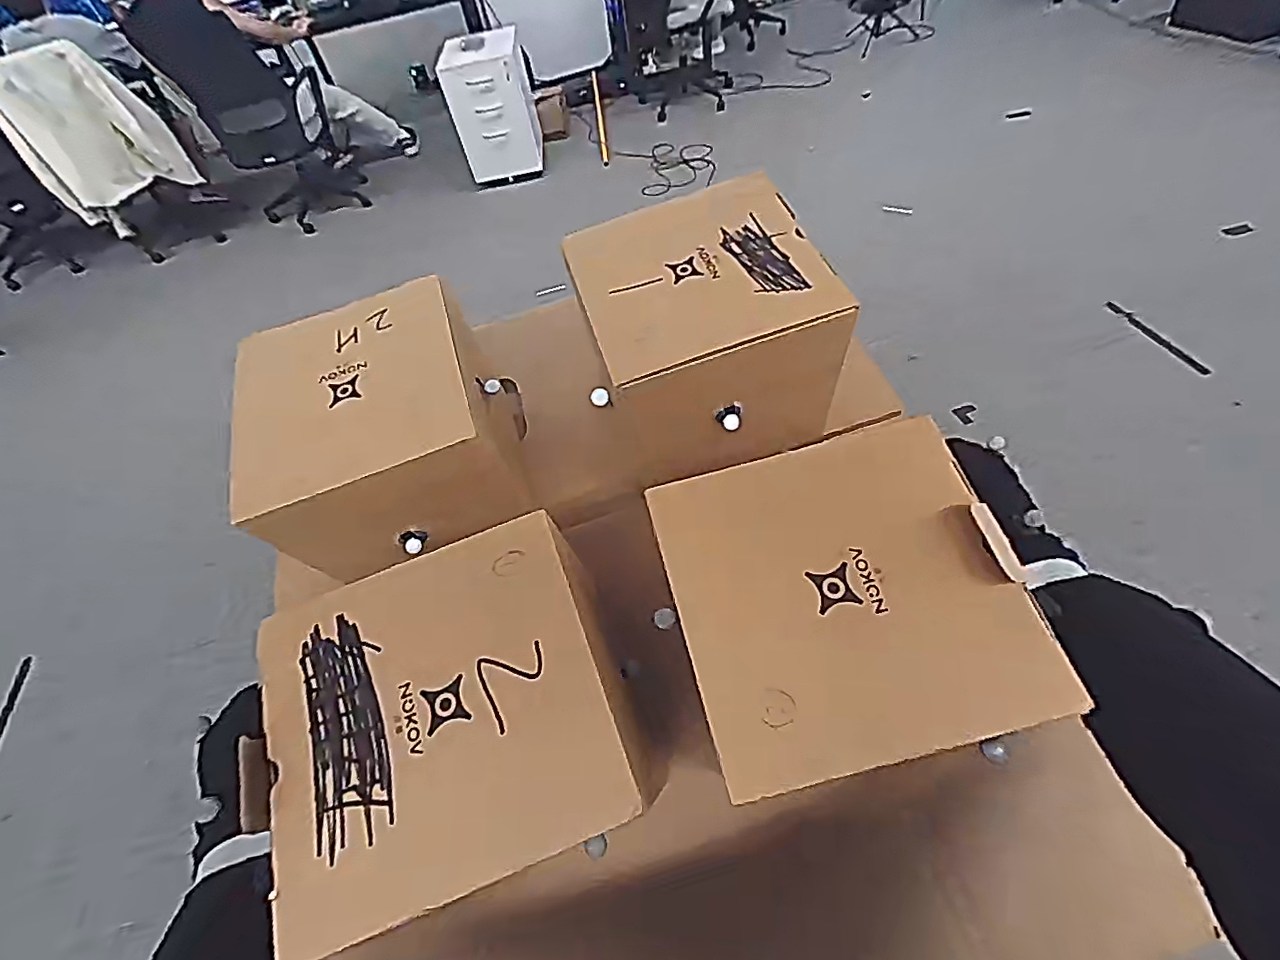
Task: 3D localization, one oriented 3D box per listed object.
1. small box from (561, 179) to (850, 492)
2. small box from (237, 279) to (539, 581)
[{"bbox_3d":[0.050,-0.114,0.471,0.179,0.176,0.168,-19,61,-1],"label":"small box"},{"bbox_3d":[-0.199,-0.029,0.464,0.168,0.176,0.179,-20,60,-3],"label":"small box"}]
